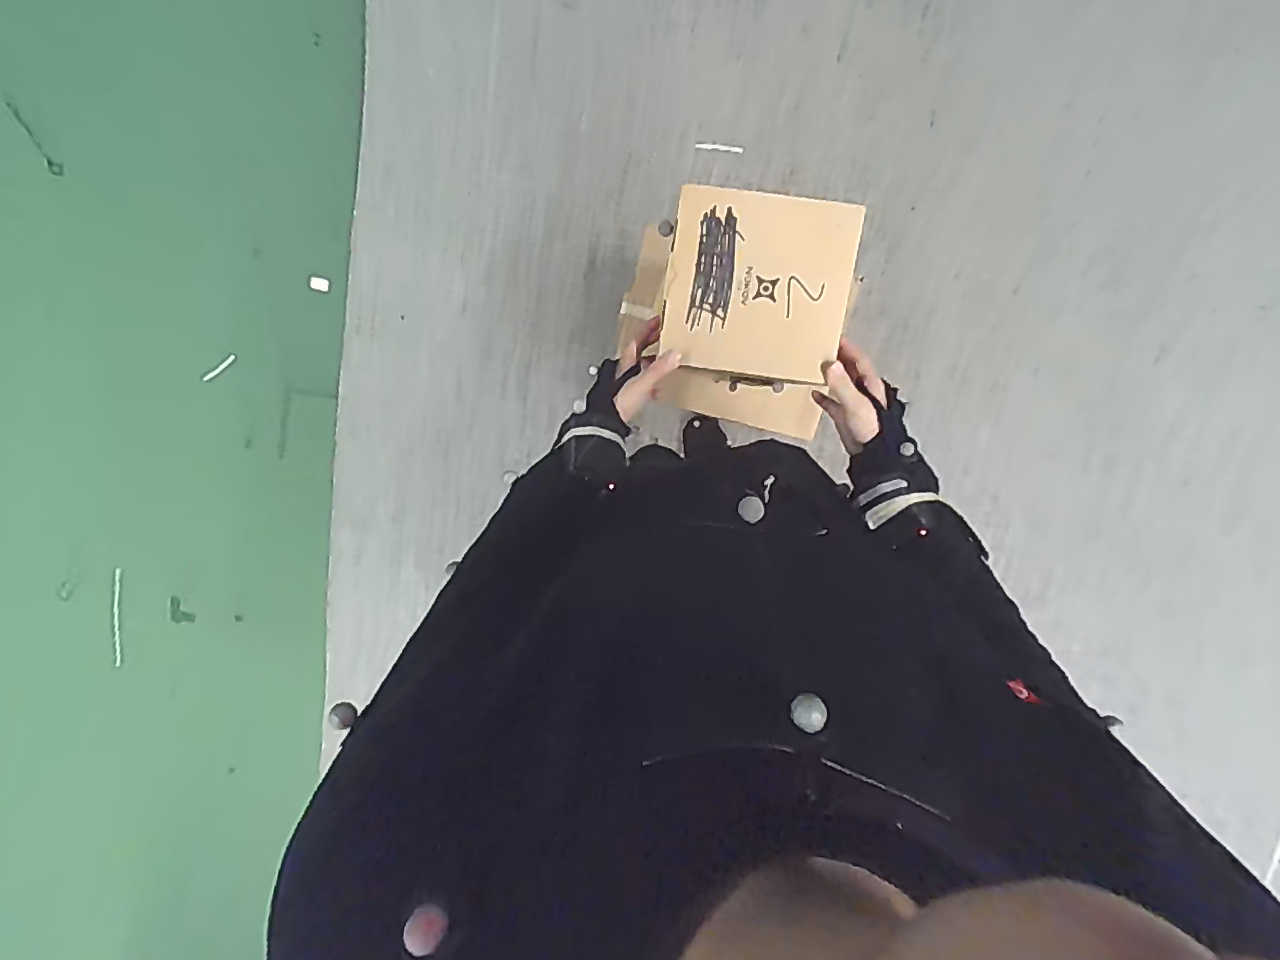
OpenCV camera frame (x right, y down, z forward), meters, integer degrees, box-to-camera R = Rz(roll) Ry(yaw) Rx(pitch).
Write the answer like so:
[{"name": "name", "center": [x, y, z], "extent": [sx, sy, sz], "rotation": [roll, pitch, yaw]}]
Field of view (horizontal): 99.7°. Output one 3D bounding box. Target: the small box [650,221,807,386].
[{"name": "small box", "center": [0.114, -0.231, 0.753], "extent": [0.168, 0.176, 0.179], "rotation": [12, 99, 2]}]

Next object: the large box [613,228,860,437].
[{"name": "large box", "center": [0.181, -0.293, 1.147], "extent": [0.408, 0.320, 0.320], "rotation": [14, 101, 2]}]
